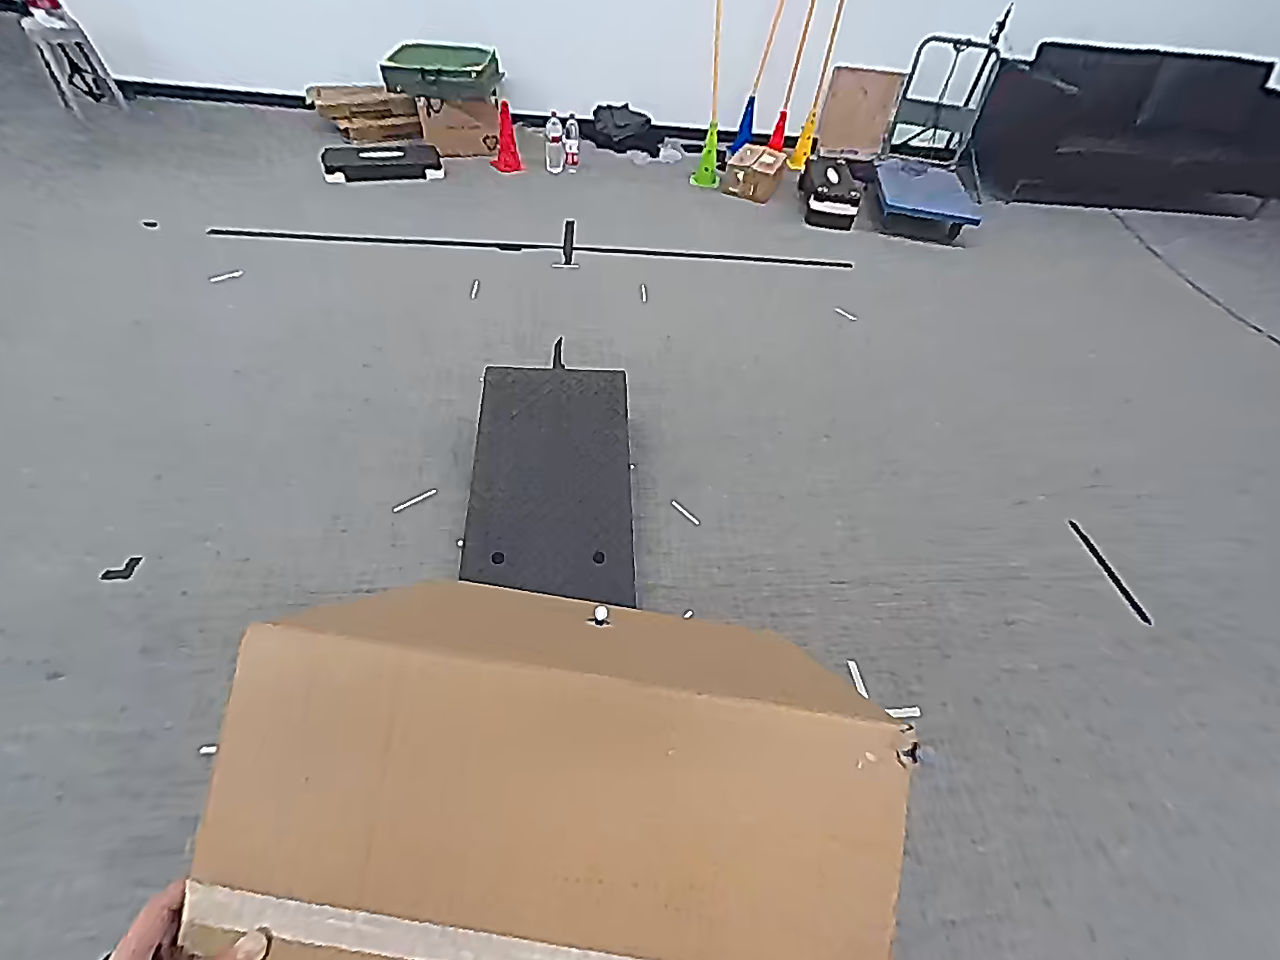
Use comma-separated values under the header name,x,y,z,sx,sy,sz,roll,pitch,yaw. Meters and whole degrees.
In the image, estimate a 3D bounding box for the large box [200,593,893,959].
name,x,y,z,sx,sy,sz,roll,pitch,yaw
large box,-0.060,0.288,0.471,0.408,0.320,0.320,8,85,1
